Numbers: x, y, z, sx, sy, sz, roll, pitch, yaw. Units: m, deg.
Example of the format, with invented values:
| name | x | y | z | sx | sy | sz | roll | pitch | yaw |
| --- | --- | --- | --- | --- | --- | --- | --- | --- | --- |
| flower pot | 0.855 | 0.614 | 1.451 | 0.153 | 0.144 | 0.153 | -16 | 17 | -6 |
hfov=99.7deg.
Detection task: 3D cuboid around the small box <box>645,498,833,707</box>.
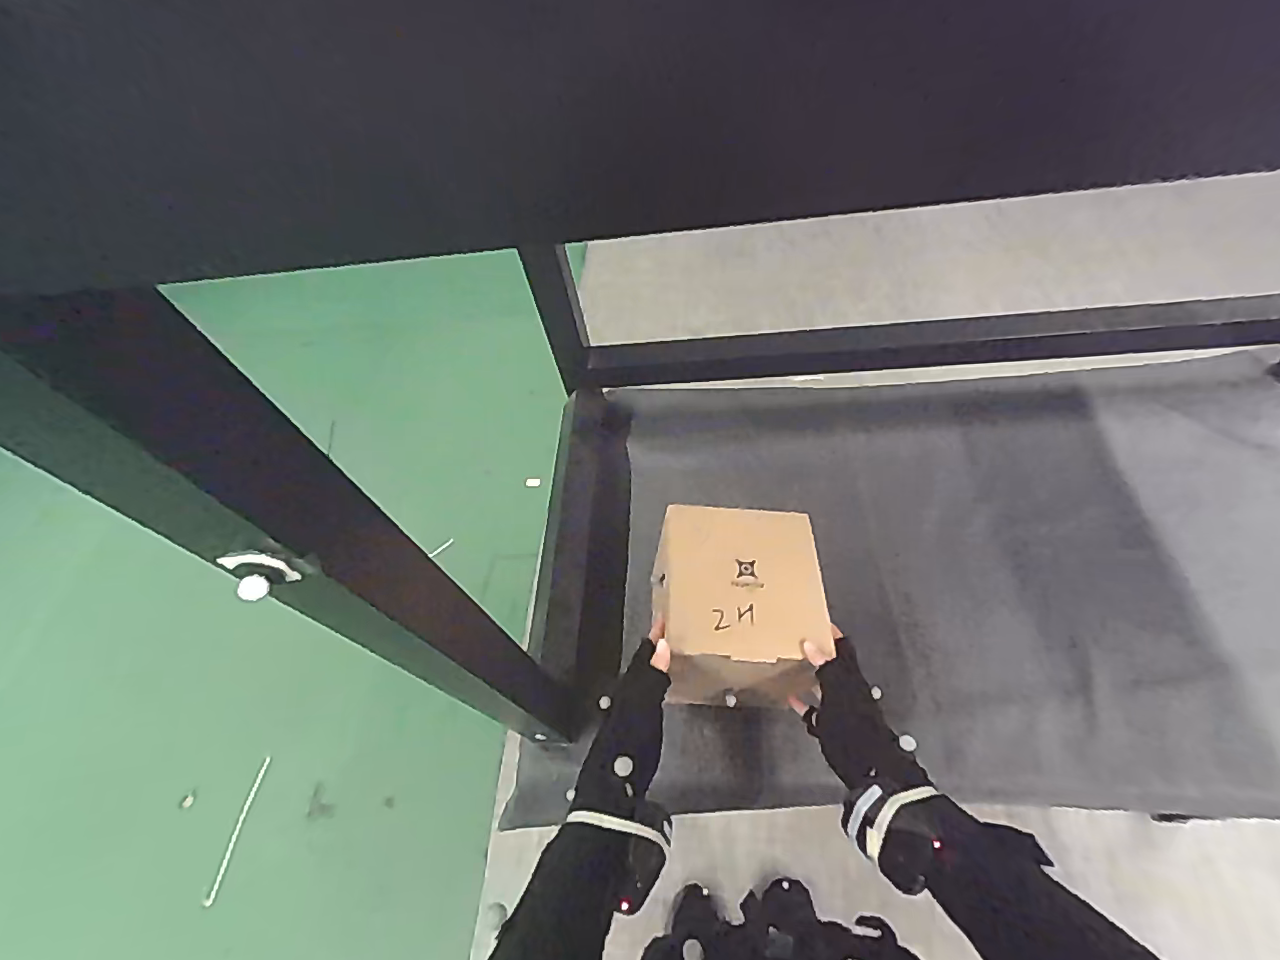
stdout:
| name | x | y | z | sx | sy | sz | roll | pitch | yaw |
| --- | --- | --- | --- | --- | --- | --- | --- | --- | --- |
| small box | 0.098 | 0.145 | 0.627 | 0.168 | 0.176 | 0.179 | 5 | 53 | -4 |
